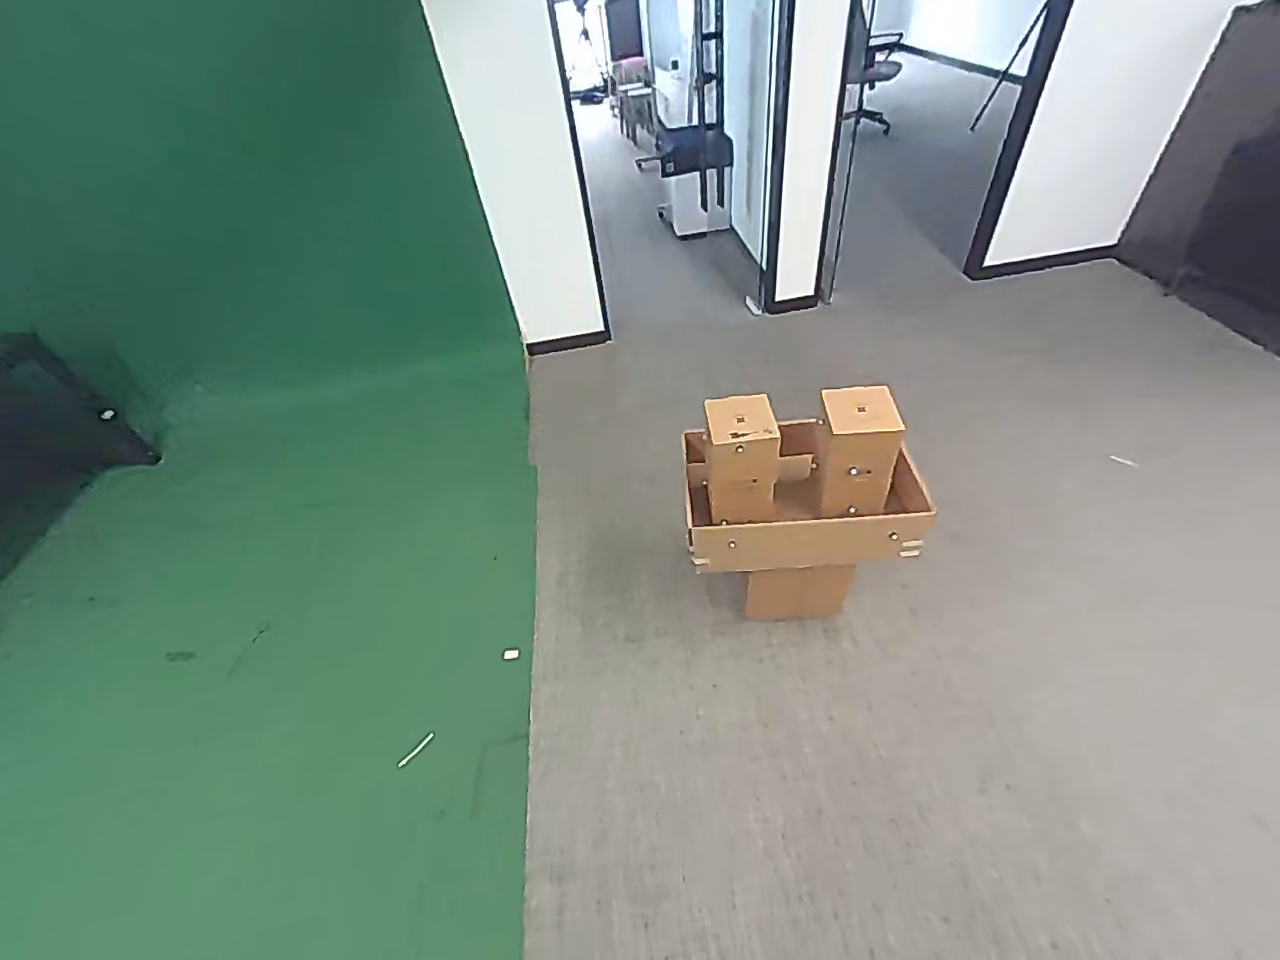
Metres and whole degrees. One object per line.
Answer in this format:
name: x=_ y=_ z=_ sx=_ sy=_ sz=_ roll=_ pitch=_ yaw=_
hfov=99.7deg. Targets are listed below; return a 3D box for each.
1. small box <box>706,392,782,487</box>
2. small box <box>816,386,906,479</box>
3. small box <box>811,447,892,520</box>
small box: x=0.264 y=-0.103 z=1.408 sx=0.168 sy=0.176 sz=0.179 roll=-7 pitch=45 yaw=3
small box: x=0.554 y=-0.121 z=1.383 sx=0.168 sy=0.176 sz=0.179 roll=-2 pitch=46 yaw=7
small box: x=0.576 y=-0.009 z=1.500 sx=0.168 sy=0.176 sz=0.179 roll=-1 pitch=46 yaw=7
